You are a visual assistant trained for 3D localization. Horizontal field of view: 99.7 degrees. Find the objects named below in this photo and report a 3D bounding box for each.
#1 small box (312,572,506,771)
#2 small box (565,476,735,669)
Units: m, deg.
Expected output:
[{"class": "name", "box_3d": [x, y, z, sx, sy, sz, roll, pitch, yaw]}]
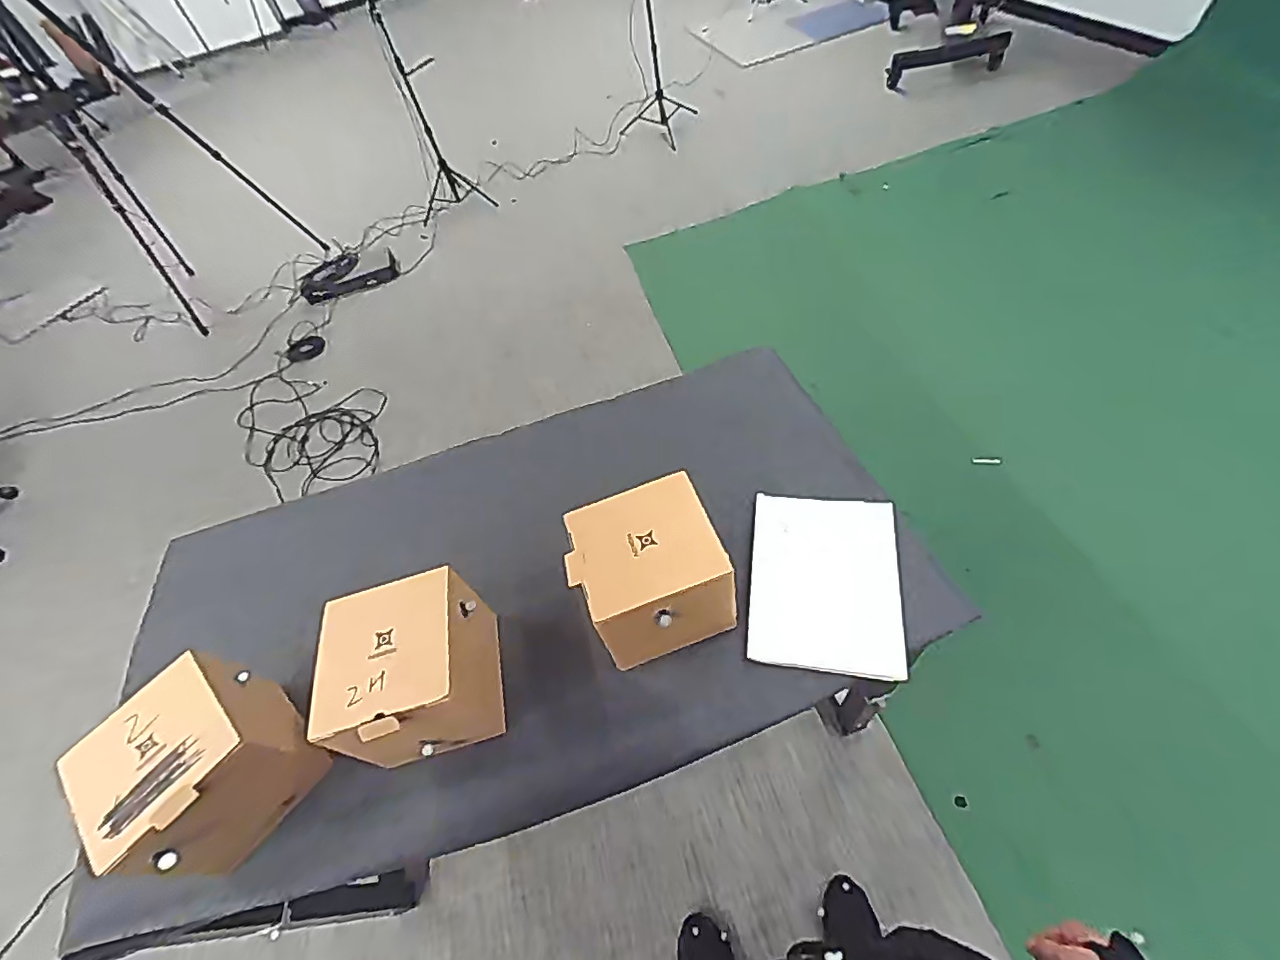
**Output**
[{"class": "small box", "box_3d": [-0.288, 0.253, 0.708, 0.168, 0.176, 0.179, -18, 52, 0]}, {"class": "small box", "box_3d": [0.019, 0.129, 0.732, 0.179, 0.176, 0.168, -21, 51, -2]}]
